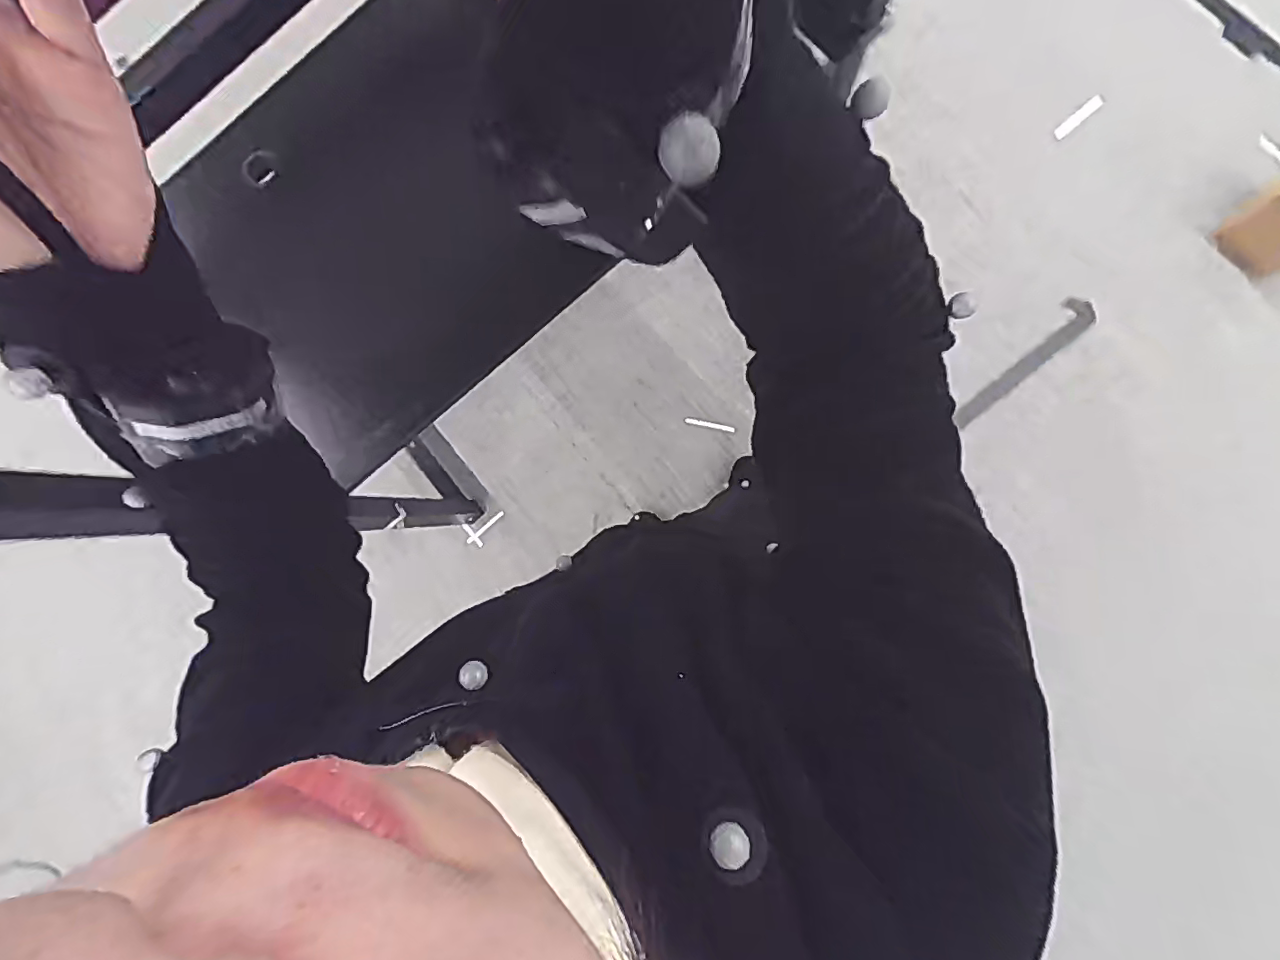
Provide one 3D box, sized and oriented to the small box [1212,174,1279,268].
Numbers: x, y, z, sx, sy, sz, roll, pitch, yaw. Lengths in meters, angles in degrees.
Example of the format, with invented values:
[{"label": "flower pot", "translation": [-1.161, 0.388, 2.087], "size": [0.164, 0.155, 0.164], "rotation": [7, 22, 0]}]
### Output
[{"label": "small box", "translation": [1.564, -0.638, 1.291], "size": [0.168, 0.176, 0.179], "rotation": [-42, 84, 2]}]
